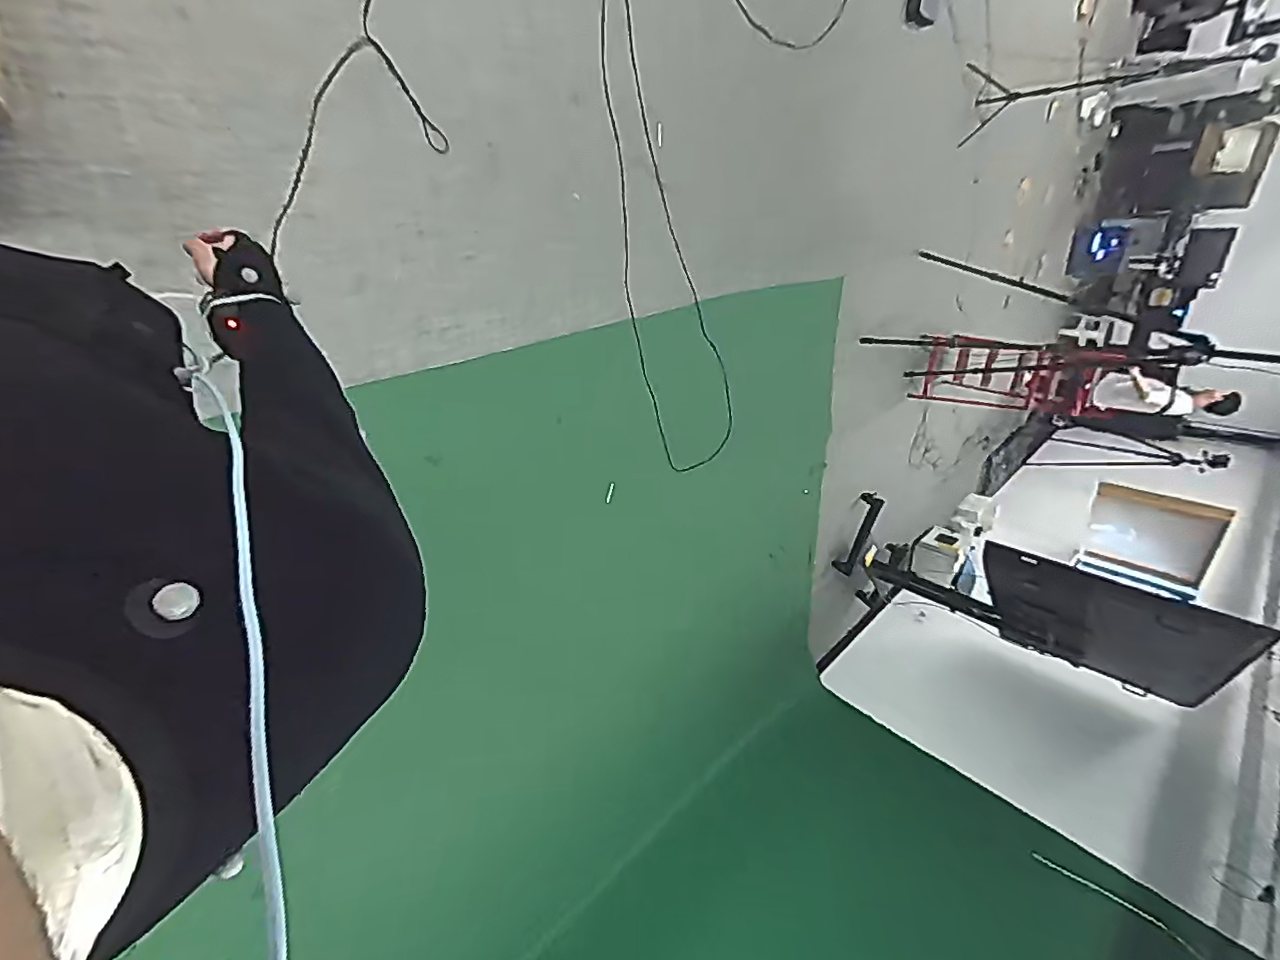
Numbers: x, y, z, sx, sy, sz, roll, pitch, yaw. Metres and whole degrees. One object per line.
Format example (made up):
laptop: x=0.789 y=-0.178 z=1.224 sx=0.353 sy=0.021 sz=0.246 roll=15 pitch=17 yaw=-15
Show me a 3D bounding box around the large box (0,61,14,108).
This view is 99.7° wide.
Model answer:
large box: x=-1.188 y=-0.734 z=0.710 sx=0.408 sy=0.320 sz=0.320 roll=-13 pitch=115 yaw=-39
